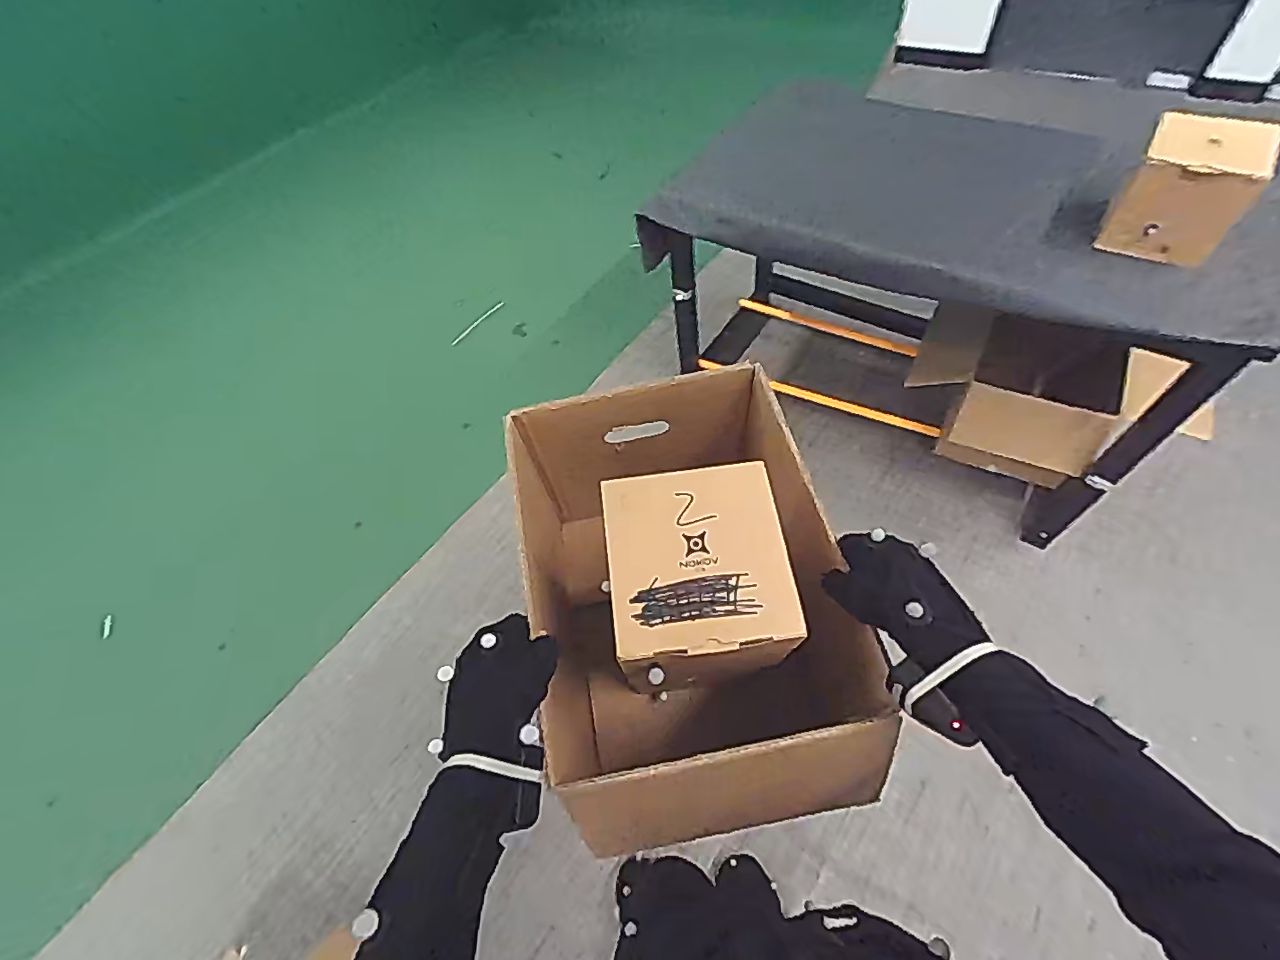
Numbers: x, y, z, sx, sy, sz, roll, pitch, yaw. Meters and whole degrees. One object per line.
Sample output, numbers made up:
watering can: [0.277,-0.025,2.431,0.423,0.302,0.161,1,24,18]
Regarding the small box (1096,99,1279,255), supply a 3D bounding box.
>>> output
small box: [0.968,-0.541,0.969,0.168,0.176,0.179,26,65,23]
